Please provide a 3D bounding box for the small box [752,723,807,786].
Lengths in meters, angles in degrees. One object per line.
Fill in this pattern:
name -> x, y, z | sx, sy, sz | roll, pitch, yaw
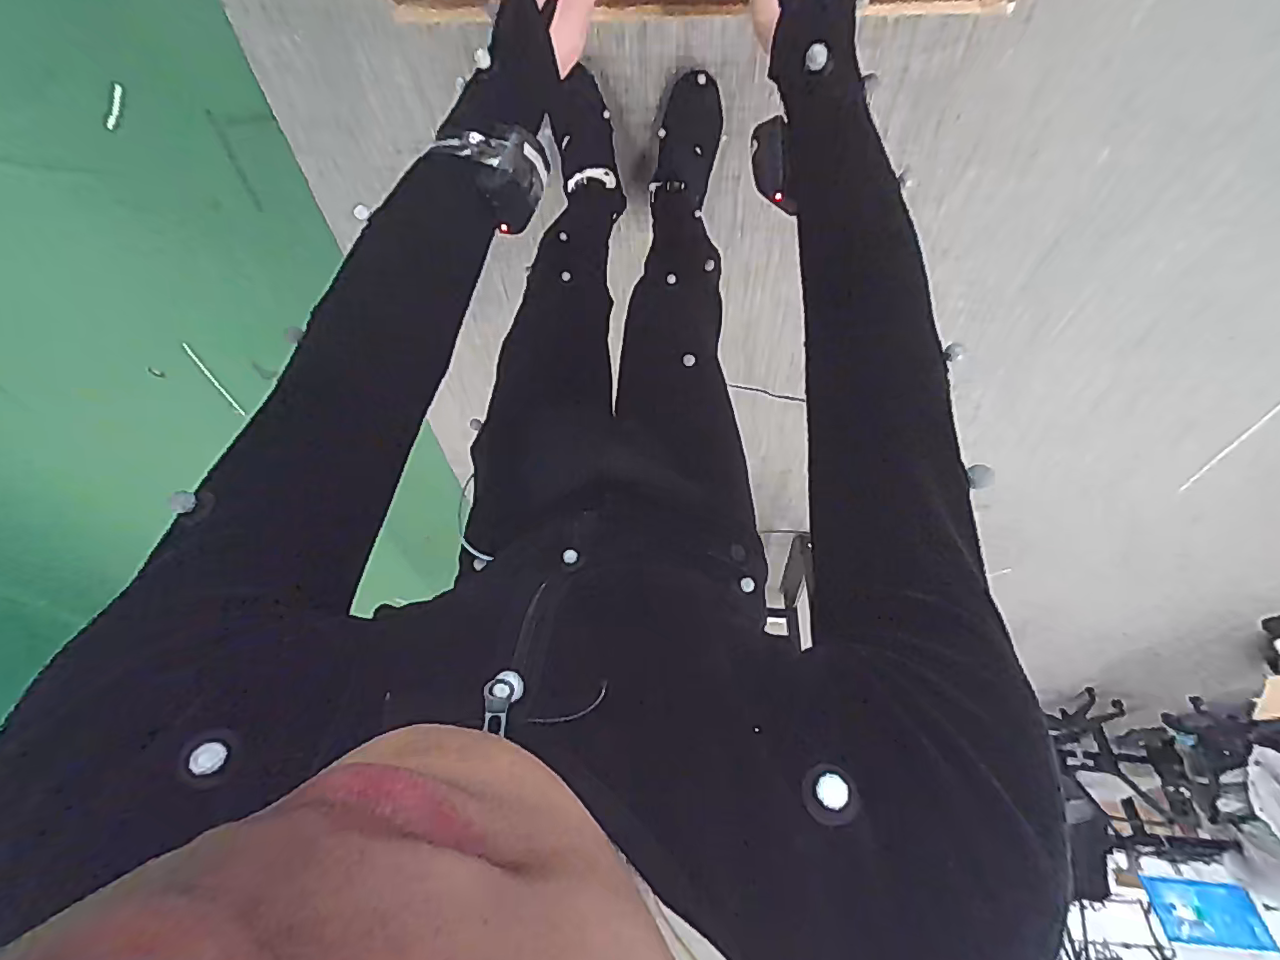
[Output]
small box -> 0.480, 0.959, 1.887 | 0.168, 0.176, 0.179 | -1, 144, 8
